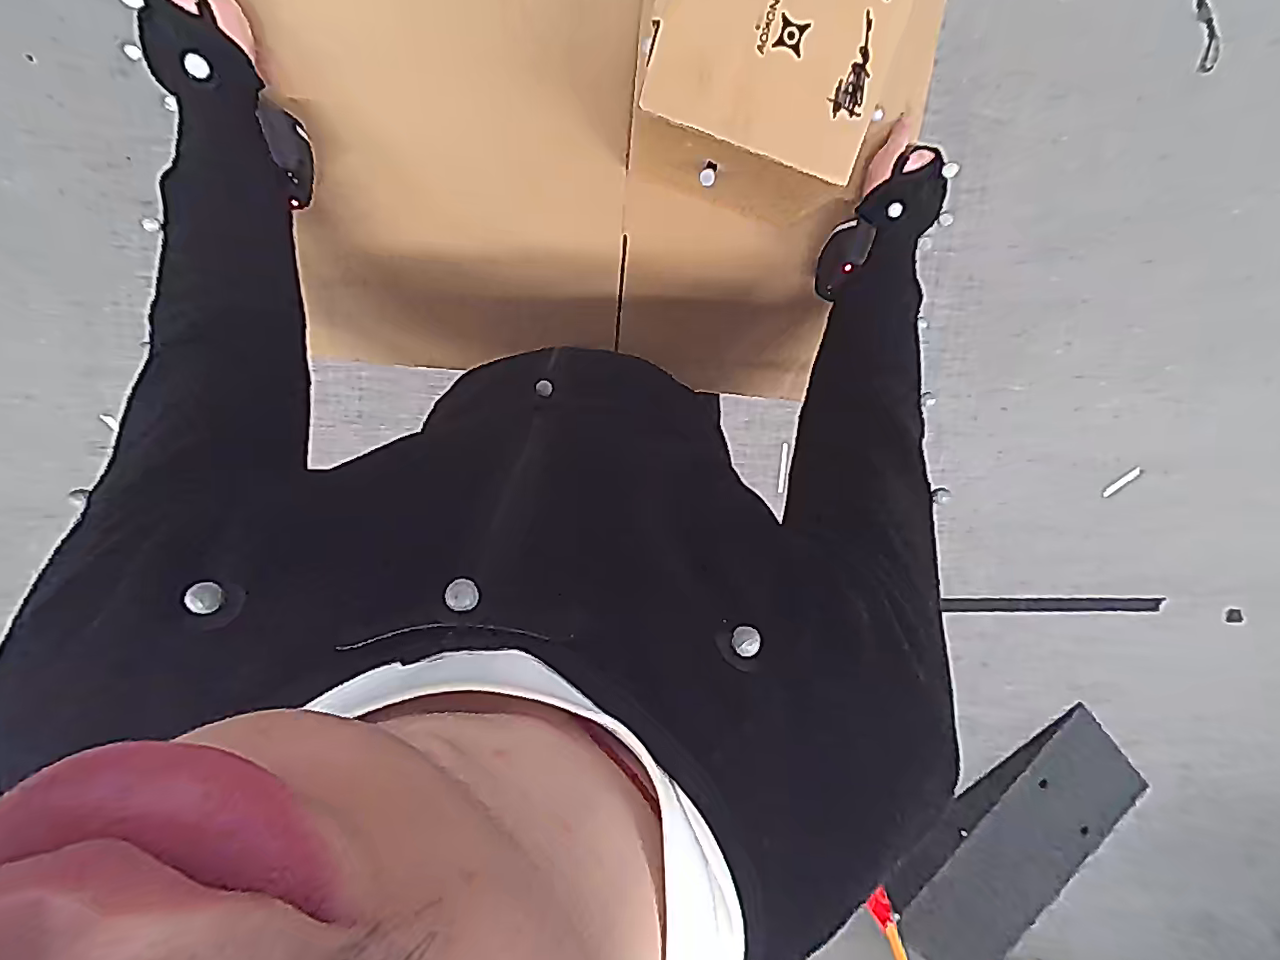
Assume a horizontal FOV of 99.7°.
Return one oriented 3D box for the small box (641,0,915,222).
[{"bbox_3d":[0.106,-0.353,0.483,0.179,0.176,0.168,17,103,-5],"label":"small box"}]
